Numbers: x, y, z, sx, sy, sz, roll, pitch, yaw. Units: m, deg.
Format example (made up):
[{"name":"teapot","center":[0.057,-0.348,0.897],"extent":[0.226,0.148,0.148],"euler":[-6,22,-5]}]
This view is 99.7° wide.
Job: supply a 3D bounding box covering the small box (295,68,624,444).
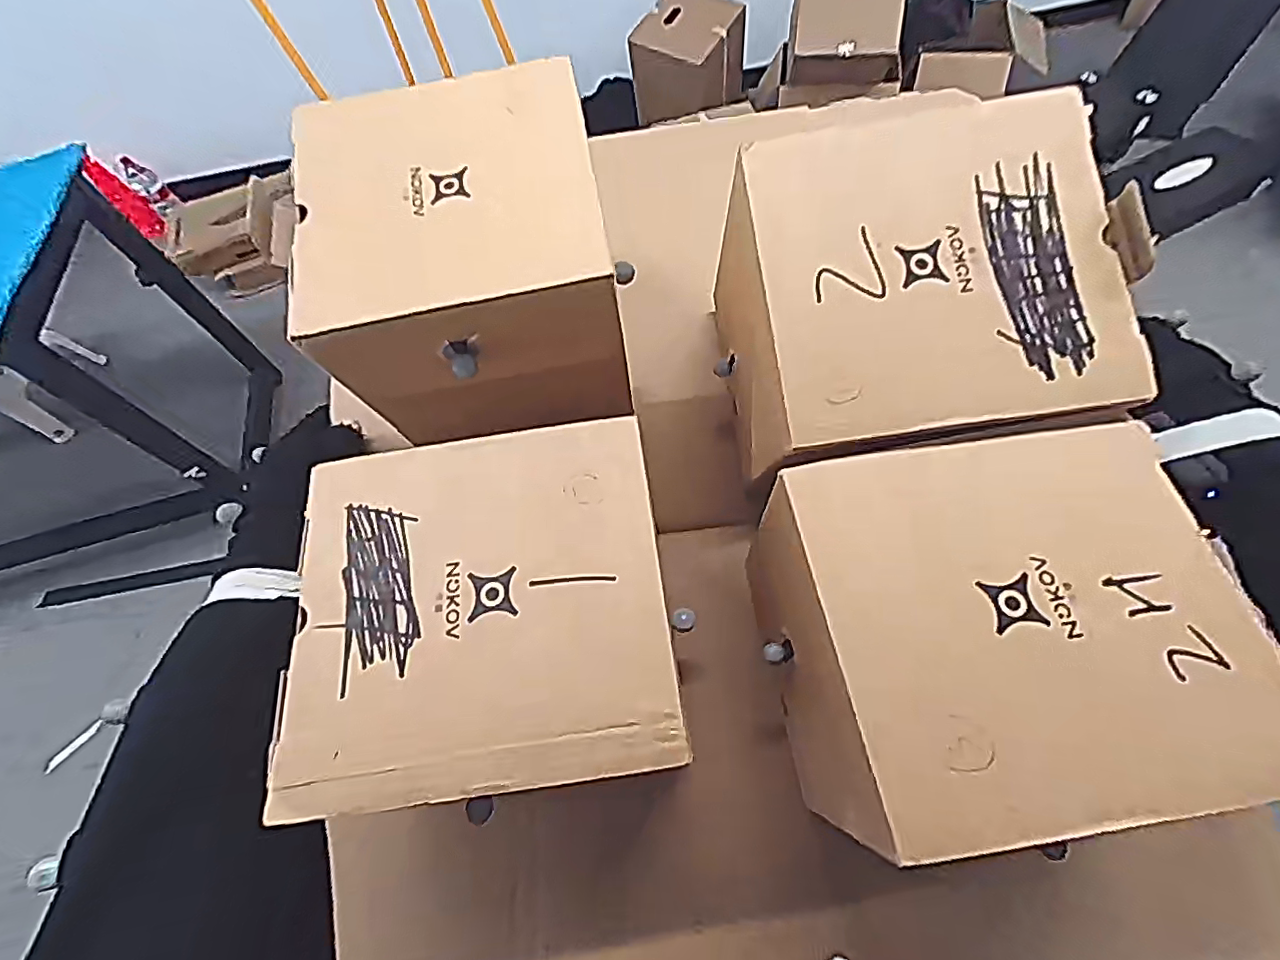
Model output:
[{"name":"small box","center":[-0.110,-0.141,0.391],"extent":[0.179,0.176,0.168],"euler":[-12,72,1]}]
